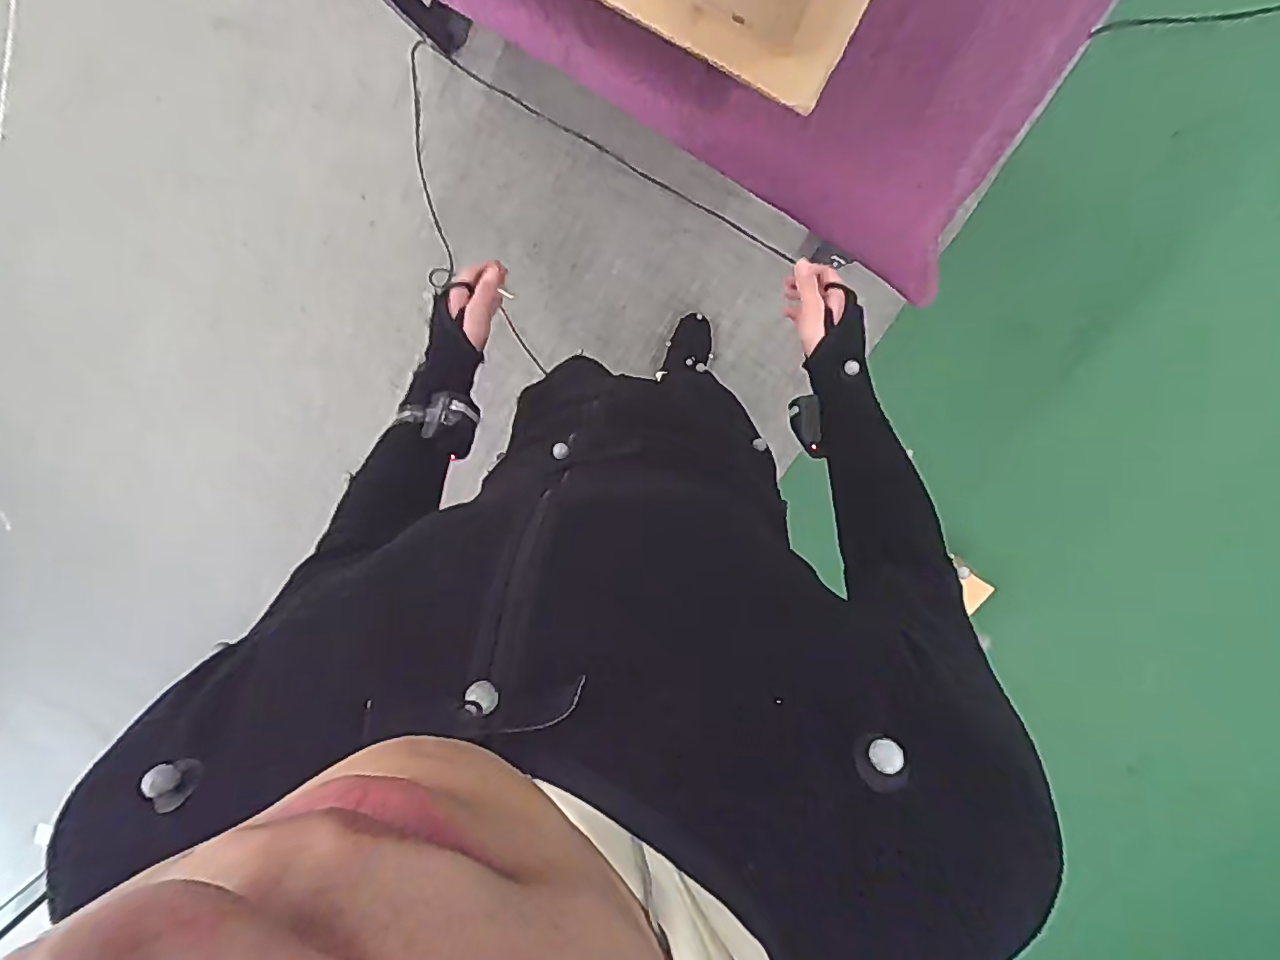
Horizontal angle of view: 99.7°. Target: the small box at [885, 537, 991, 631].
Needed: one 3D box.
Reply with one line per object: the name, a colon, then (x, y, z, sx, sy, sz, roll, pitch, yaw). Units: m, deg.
small box: (0.846, 0.291, 1.553, 0.179, 0.176, 0.168, 31, 107, -2)
